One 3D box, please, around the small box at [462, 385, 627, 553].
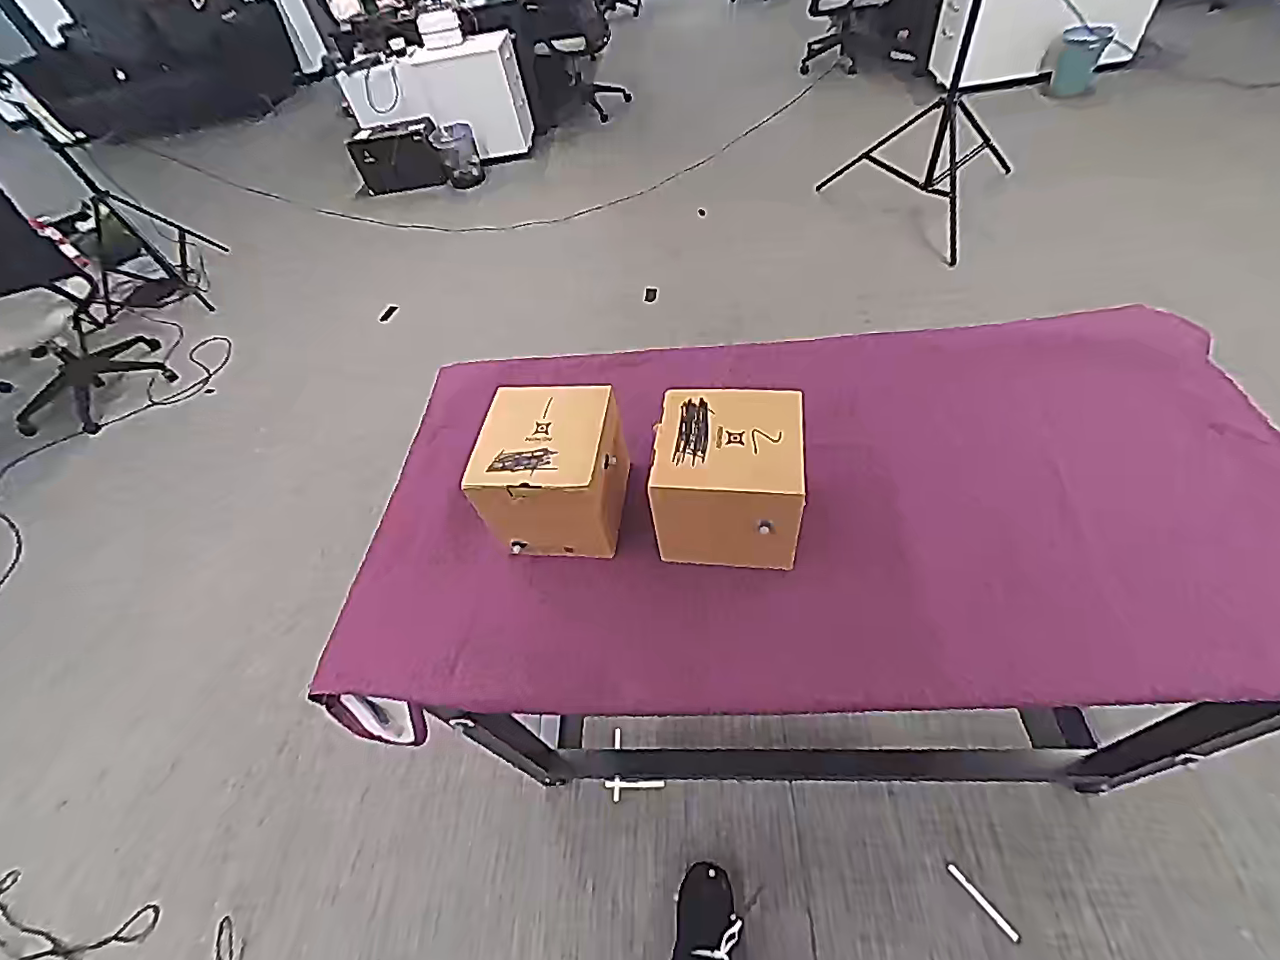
[{"bbox_3d":[-0.118,-0.012,0.760,0.168,0.176,0.179,1,52,10],"label":"small box"}]
